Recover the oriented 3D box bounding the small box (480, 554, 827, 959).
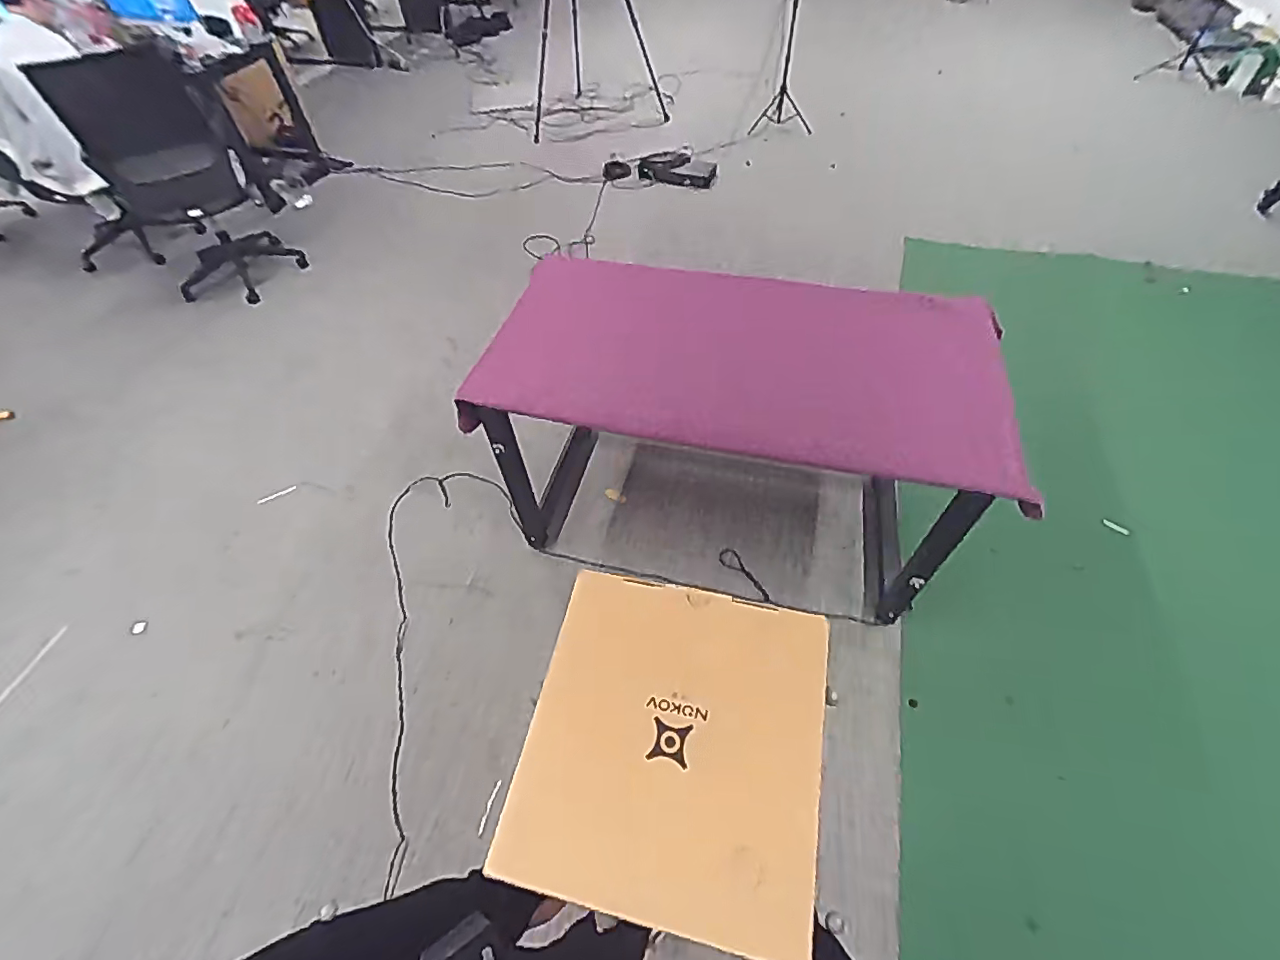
[{"bbox_3d":[0.022,0.176,0.368,0.168,0.176,0.179,9,57,11],"label":"small box"}]
